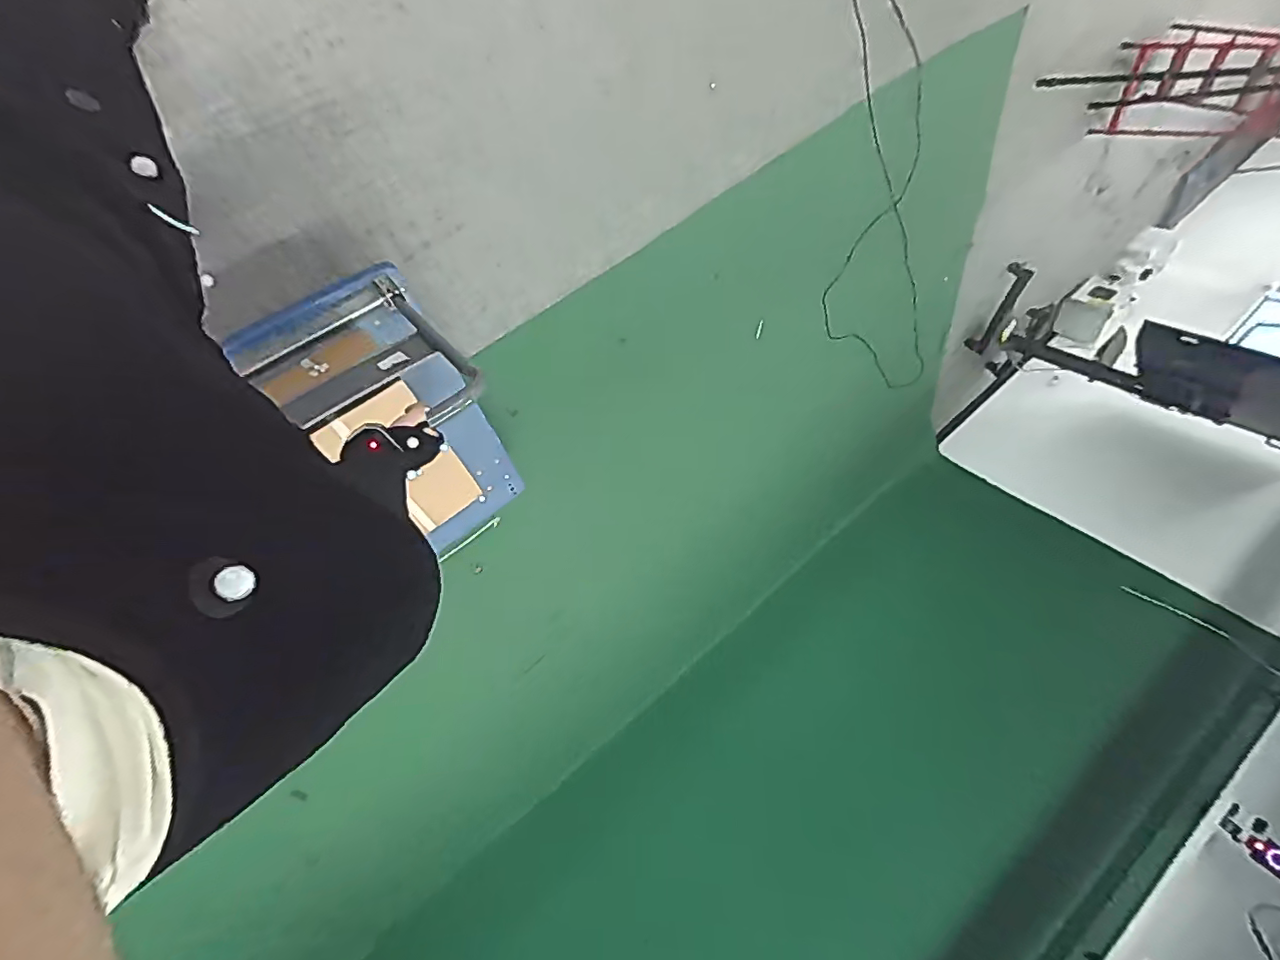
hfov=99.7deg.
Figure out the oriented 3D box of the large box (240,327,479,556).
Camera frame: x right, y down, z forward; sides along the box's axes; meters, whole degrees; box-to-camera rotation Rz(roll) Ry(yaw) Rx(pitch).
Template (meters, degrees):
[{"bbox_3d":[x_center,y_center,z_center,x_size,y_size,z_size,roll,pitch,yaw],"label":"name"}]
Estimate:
[{"bbox_3d":[-0.678,-0.094,1.340,0.320,0.320,0.408,-36,141,-15],"label":"large box"}]
